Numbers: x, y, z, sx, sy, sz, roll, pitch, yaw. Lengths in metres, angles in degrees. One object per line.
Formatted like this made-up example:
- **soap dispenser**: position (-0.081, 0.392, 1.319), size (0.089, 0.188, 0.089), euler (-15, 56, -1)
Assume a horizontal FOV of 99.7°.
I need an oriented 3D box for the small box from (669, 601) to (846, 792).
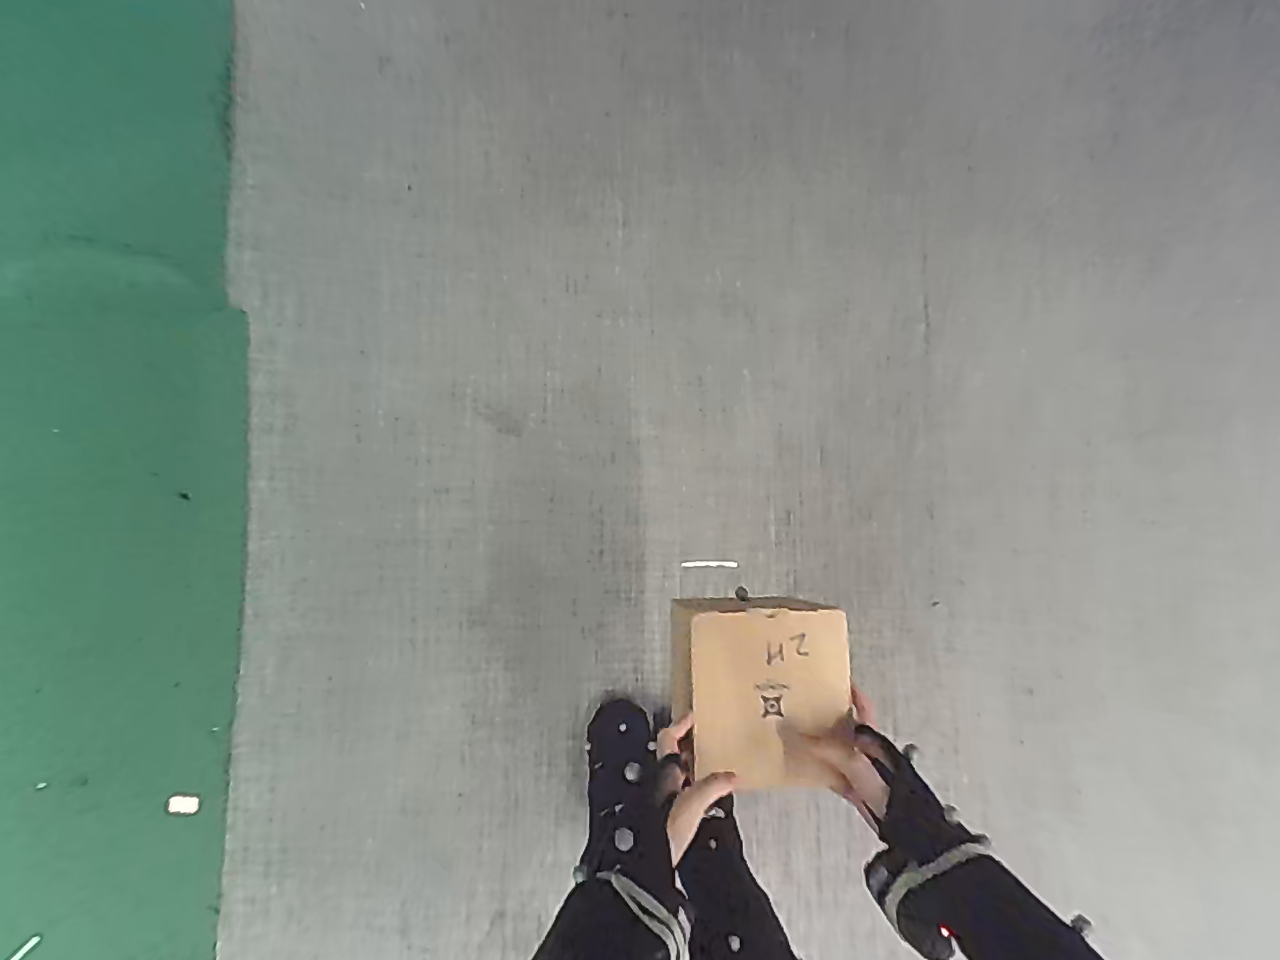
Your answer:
- **small box**: position (0.126, 0.240, 0.637), size (0.168, 0.176, 0.179), euler (0, 81, -4)
